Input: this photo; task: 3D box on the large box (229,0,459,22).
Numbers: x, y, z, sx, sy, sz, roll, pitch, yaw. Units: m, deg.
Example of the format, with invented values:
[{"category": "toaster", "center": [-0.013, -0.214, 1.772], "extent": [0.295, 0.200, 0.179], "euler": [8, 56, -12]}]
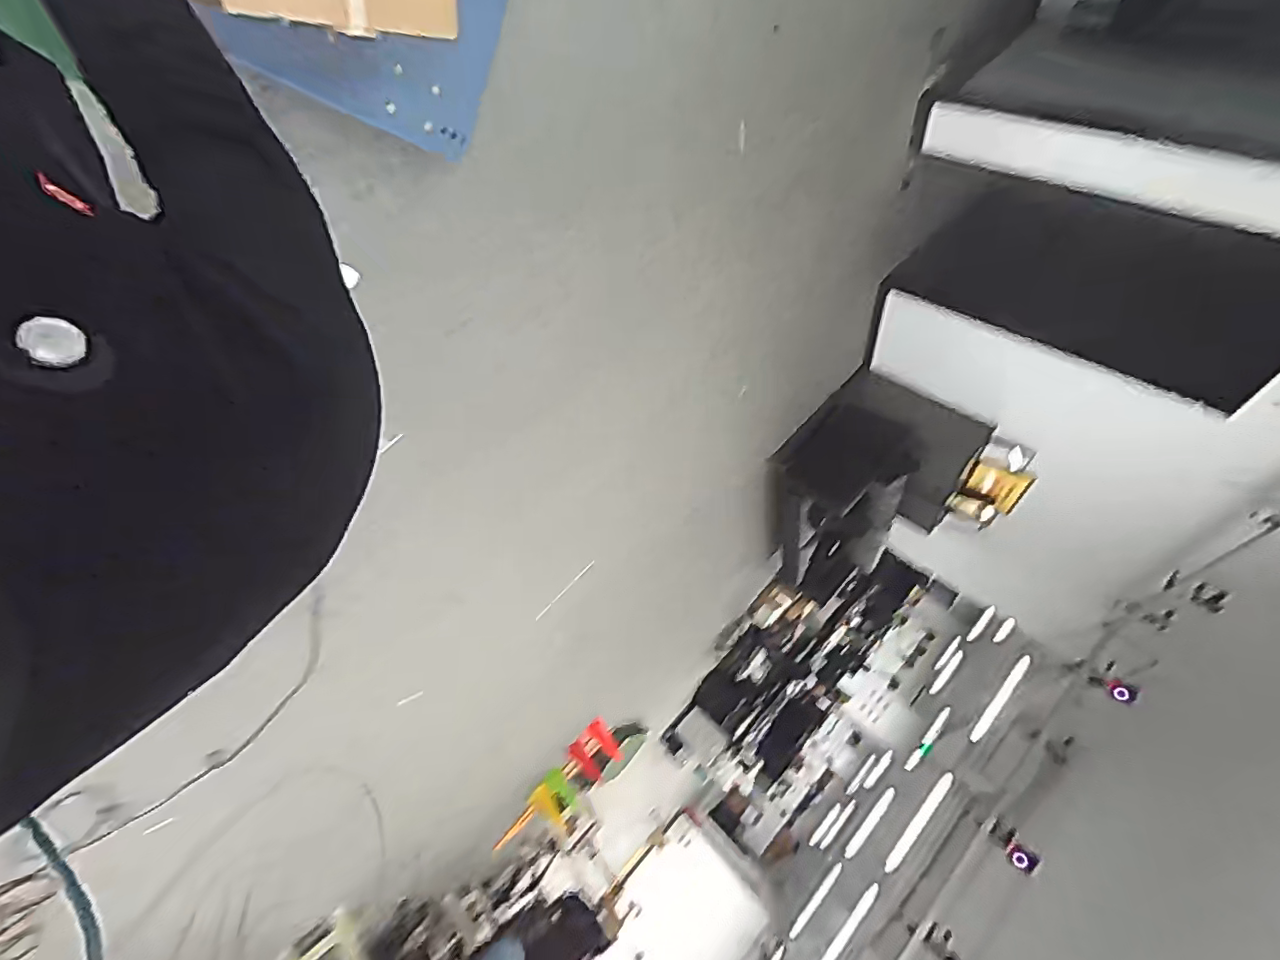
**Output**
[{"category": "large box", "center": [-0.468, -0.870, 0.693], "extent": [0.320, 0.320, 0.408], "euler": [-28, 141, -36]}]
